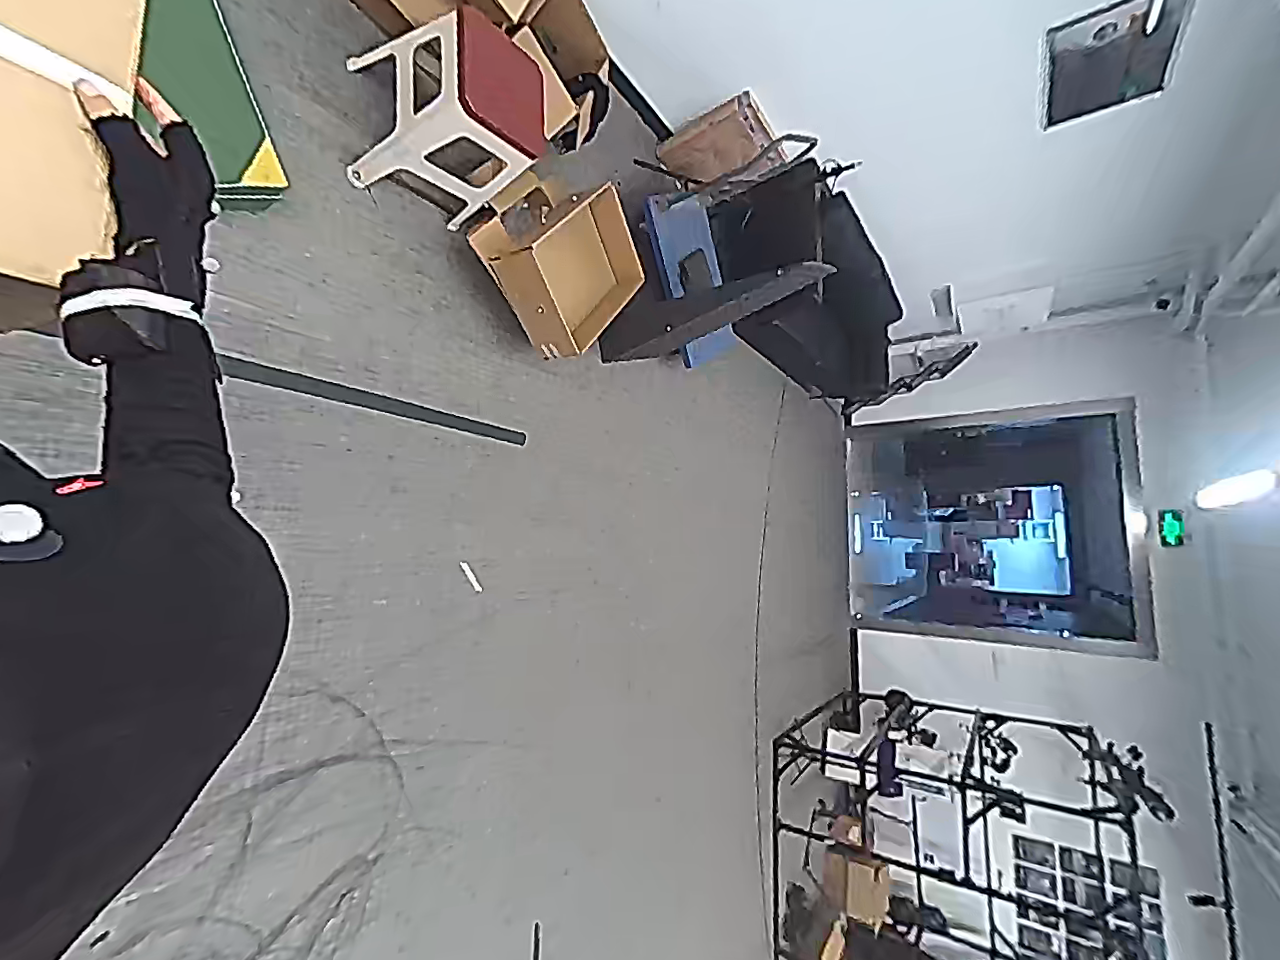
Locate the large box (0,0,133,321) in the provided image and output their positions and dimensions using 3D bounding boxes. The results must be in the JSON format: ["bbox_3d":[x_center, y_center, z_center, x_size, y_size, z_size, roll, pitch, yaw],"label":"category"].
[{"bbox_3d":[-0.651,-0.319,0.341,0.408,0.320,0.320,7,87,-61],"label":"large box"}]
